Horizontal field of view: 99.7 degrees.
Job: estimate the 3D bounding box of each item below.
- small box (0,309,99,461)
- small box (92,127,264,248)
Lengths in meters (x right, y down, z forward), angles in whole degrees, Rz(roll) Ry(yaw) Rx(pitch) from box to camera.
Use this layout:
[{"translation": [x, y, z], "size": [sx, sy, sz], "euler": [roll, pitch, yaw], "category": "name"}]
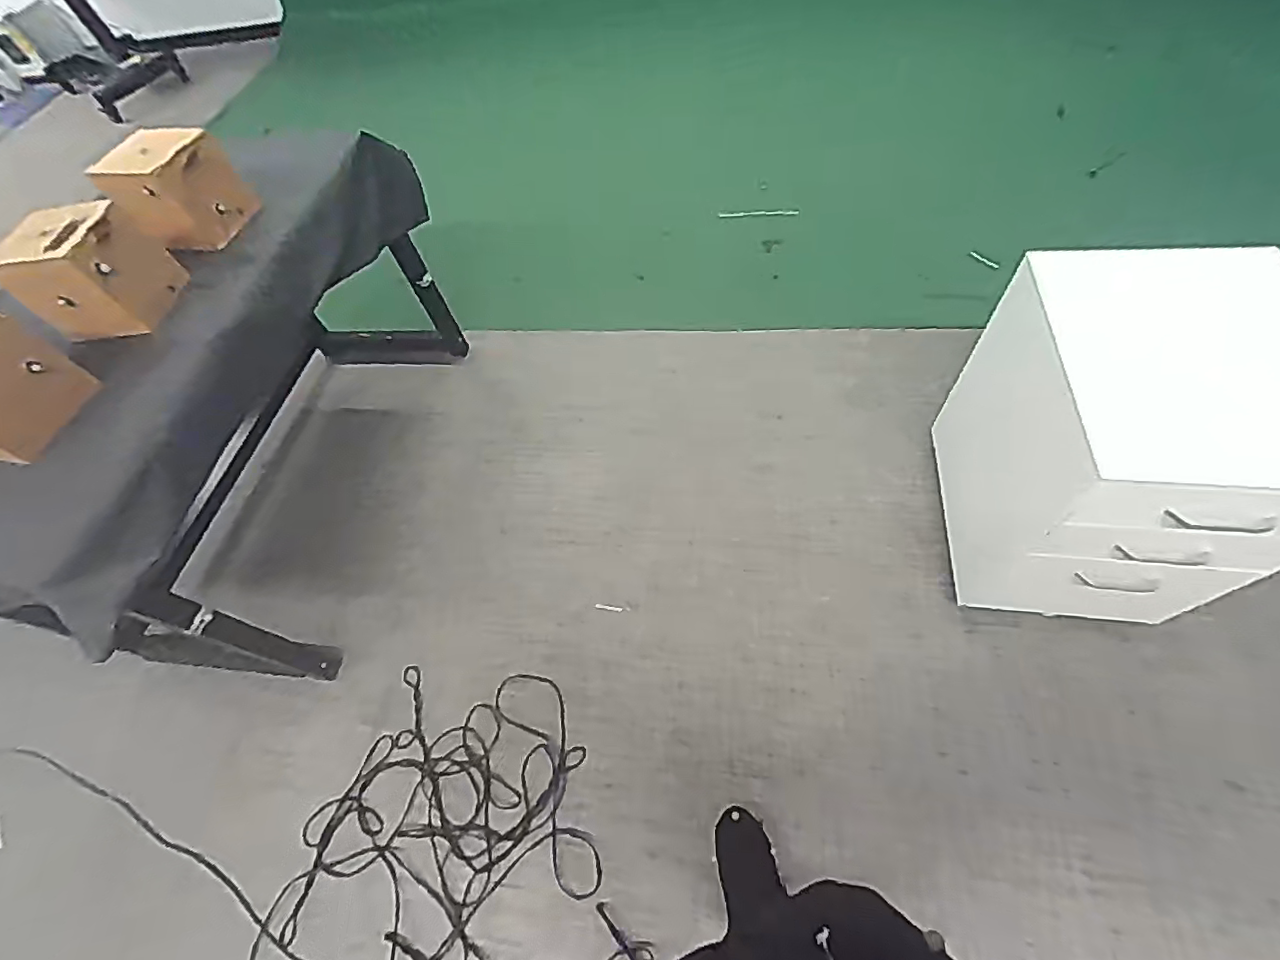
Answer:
[{"translation": [-1.040, -0.154, 0.863], "size": [0.168, 0.176, 0.179], "euler": [6, 60, 14], "category": "small box"}, {"translation": [-0.954, -0.610, 1.135], "size": [0.179, 0.176, 0.168], "euler": [8, 60, 13], "category": "small box"}]
